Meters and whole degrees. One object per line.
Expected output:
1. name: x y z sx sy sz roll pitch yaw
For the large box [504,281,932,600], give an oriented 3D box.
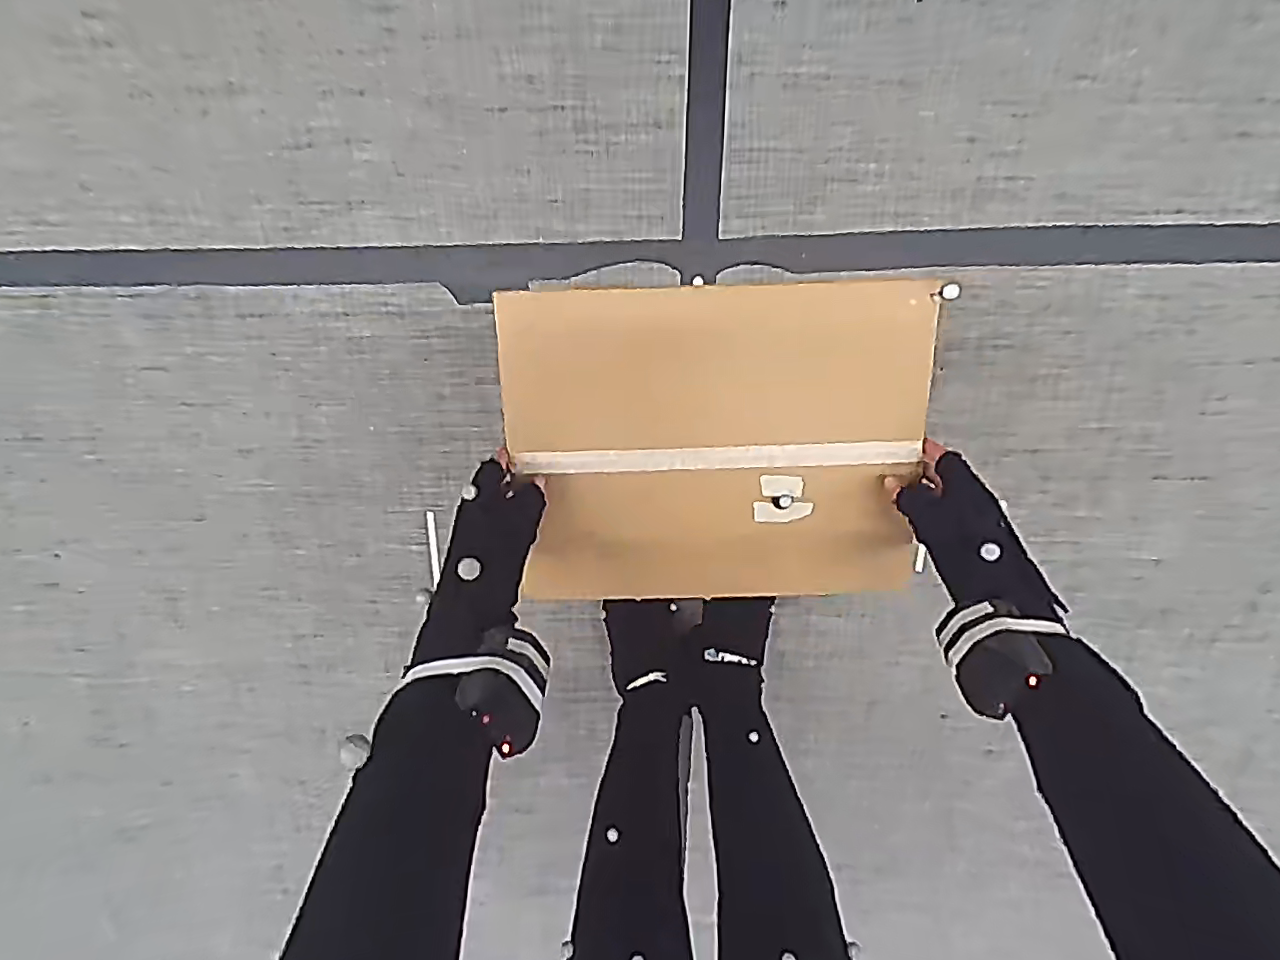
1. large box: 0.076 -0.067 0.681 0.408 0.320 0.320 -2 107 0
